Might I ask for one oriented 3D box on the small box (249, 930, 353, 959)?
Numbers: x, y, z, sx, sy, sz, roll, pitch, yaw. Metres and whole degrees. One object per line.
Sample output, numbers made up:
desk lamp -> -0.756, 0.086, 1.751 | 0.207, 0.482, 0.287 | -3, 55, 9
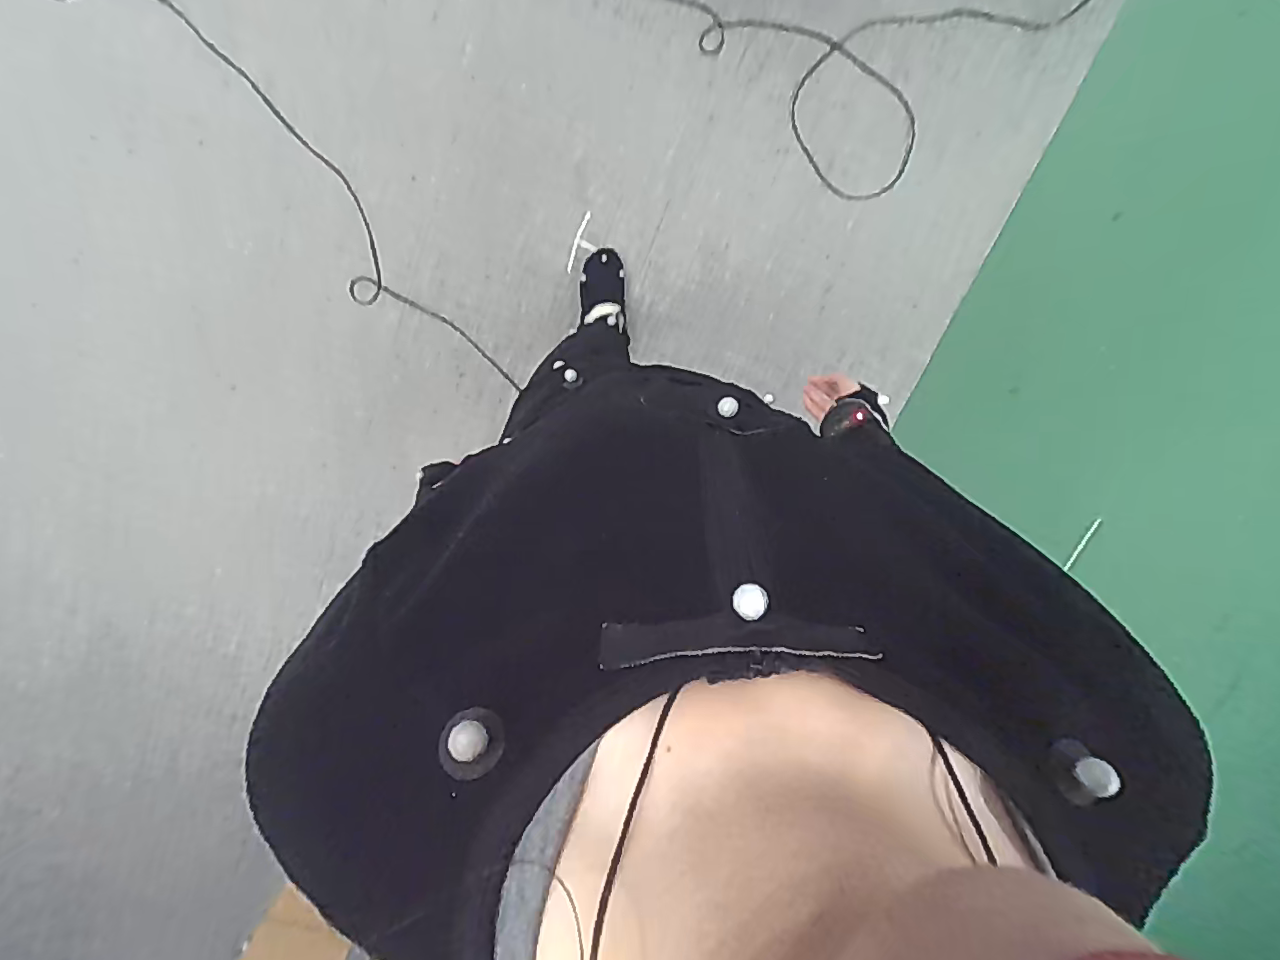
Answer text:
small box -> -0.669, 0.984, 0.996 | 0.179, 0.176, 0.168 | 22, 103, -12
